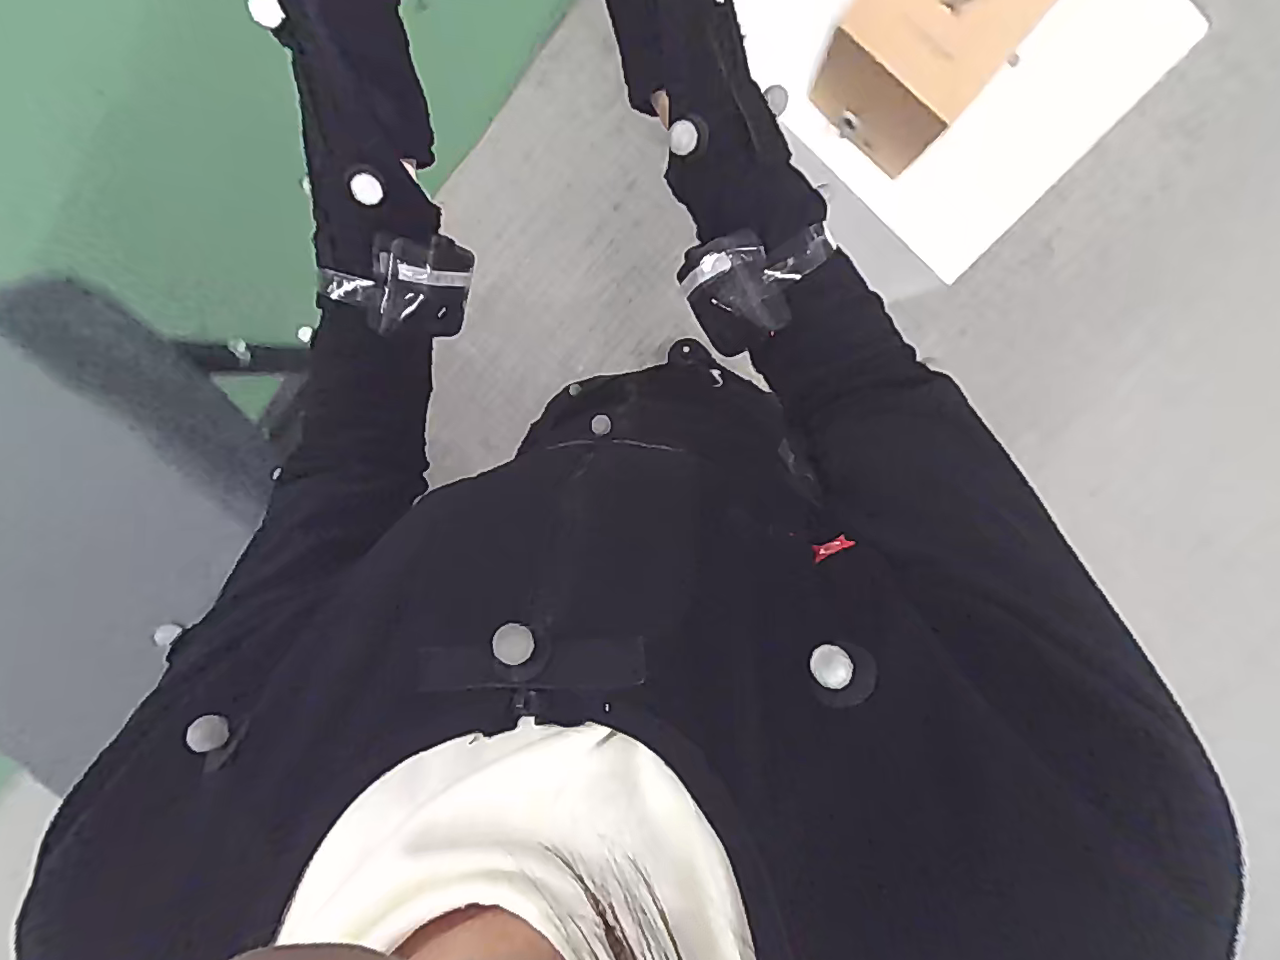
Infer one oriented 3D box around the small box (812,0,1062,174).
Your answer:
[{"bbox_3d":[0.317,-0.489,0.601,0.168,0.176,0.179,40,104,-2],"label":"small box"}]
